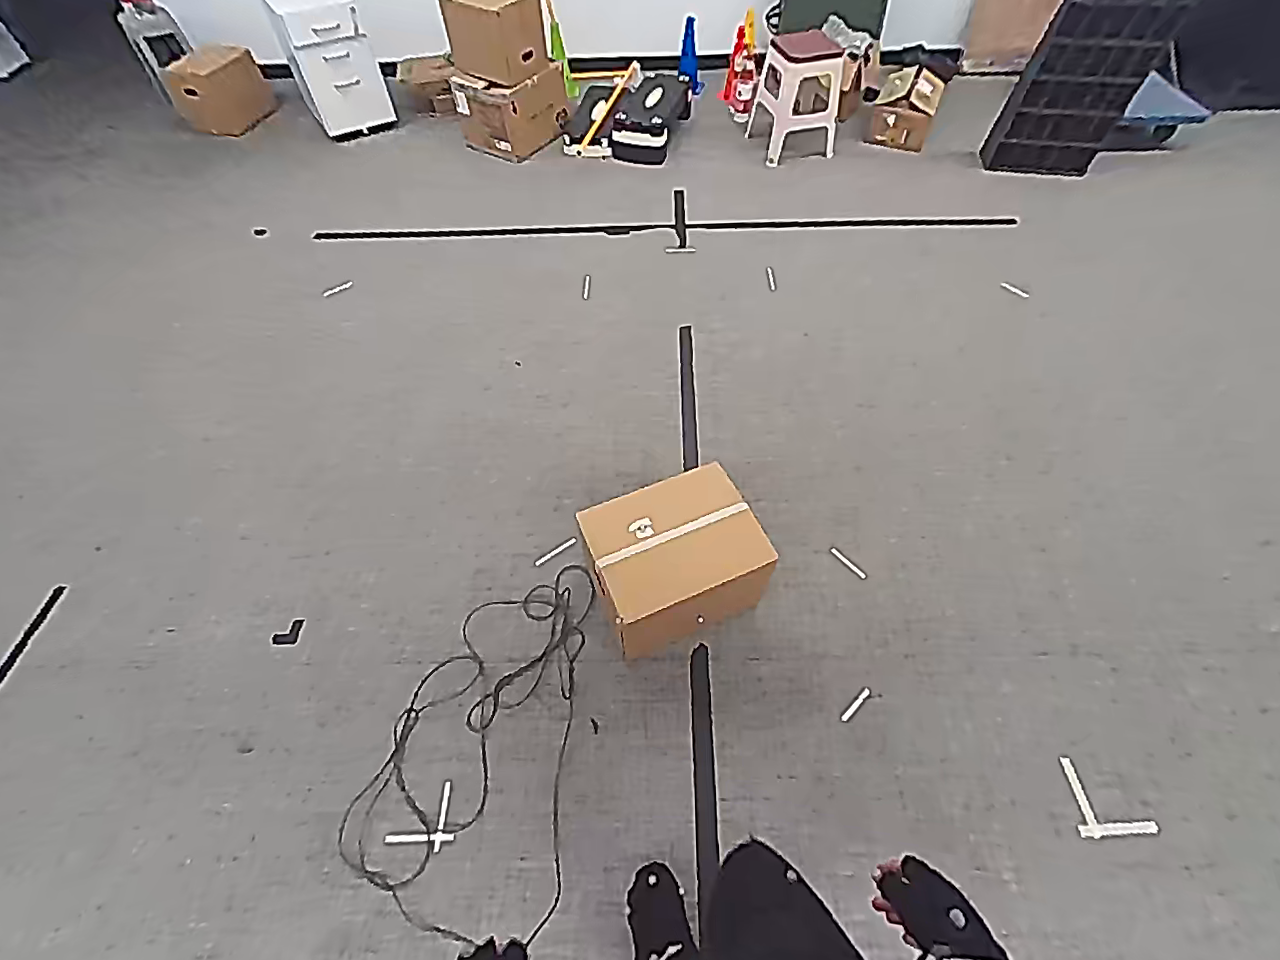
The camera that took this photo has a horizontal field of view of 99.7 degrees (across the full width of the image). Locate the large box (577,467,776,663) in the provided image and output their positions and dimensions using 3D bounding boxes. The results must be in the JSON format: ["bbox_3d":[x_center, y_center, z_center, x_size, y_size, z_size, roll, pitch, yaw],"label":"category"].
[{"bbox_3d":[0.087,0.230,1.435,0.408,0.320,0.320,-21,58,-12],"label":"large box"}]
